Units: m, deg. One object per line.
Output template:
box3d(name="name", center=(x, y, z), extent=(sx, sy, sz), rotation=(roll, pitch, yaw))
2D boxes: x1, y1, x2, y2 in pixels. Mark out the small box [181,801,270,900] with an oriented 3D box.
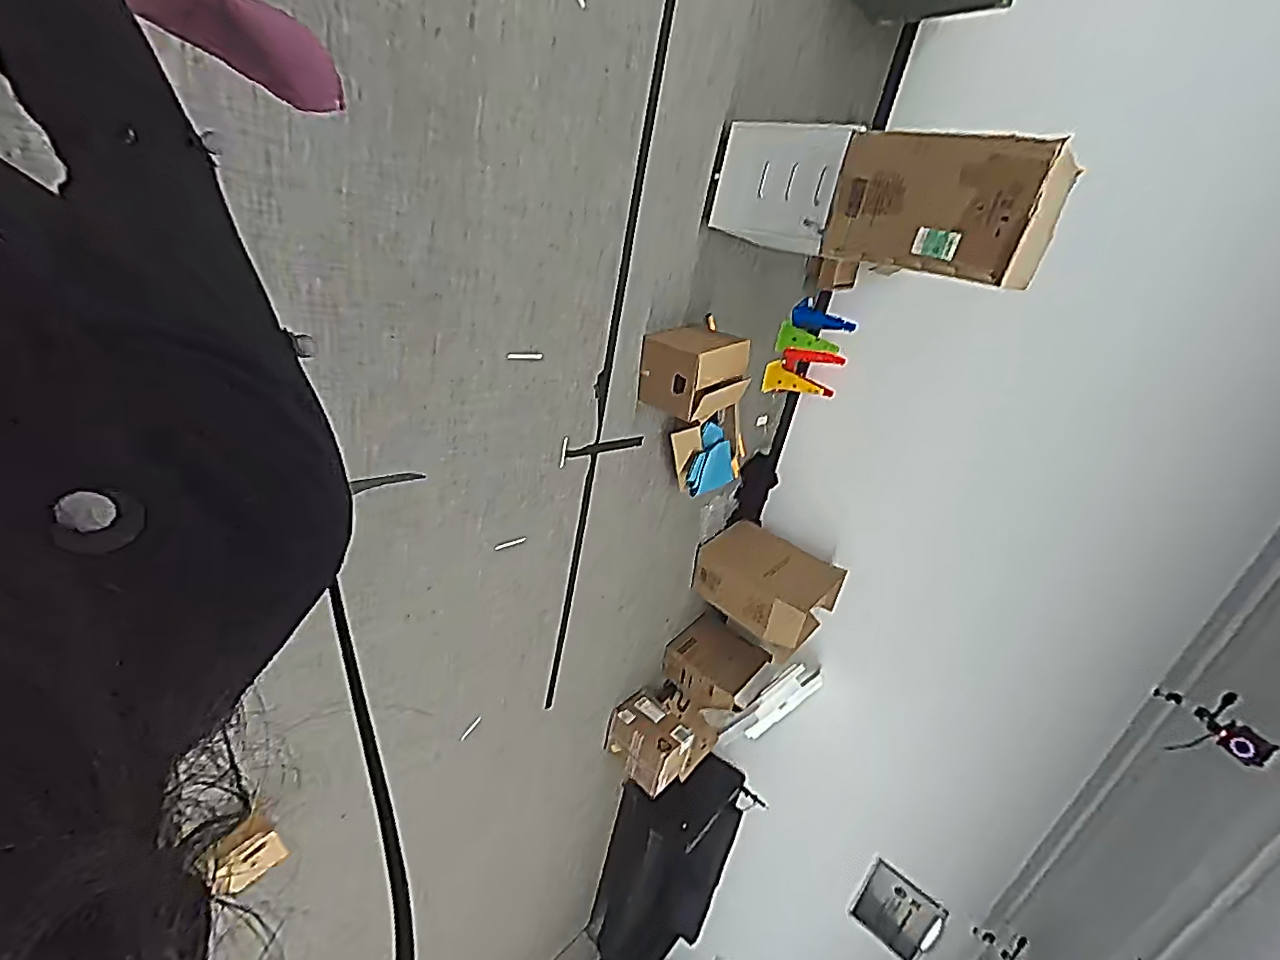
box3d(name="small box", center=(-1.335, 1.182, 1.741), extent=(0.168, 0.176, 0.179), rotation=(-28, 135, -42))
